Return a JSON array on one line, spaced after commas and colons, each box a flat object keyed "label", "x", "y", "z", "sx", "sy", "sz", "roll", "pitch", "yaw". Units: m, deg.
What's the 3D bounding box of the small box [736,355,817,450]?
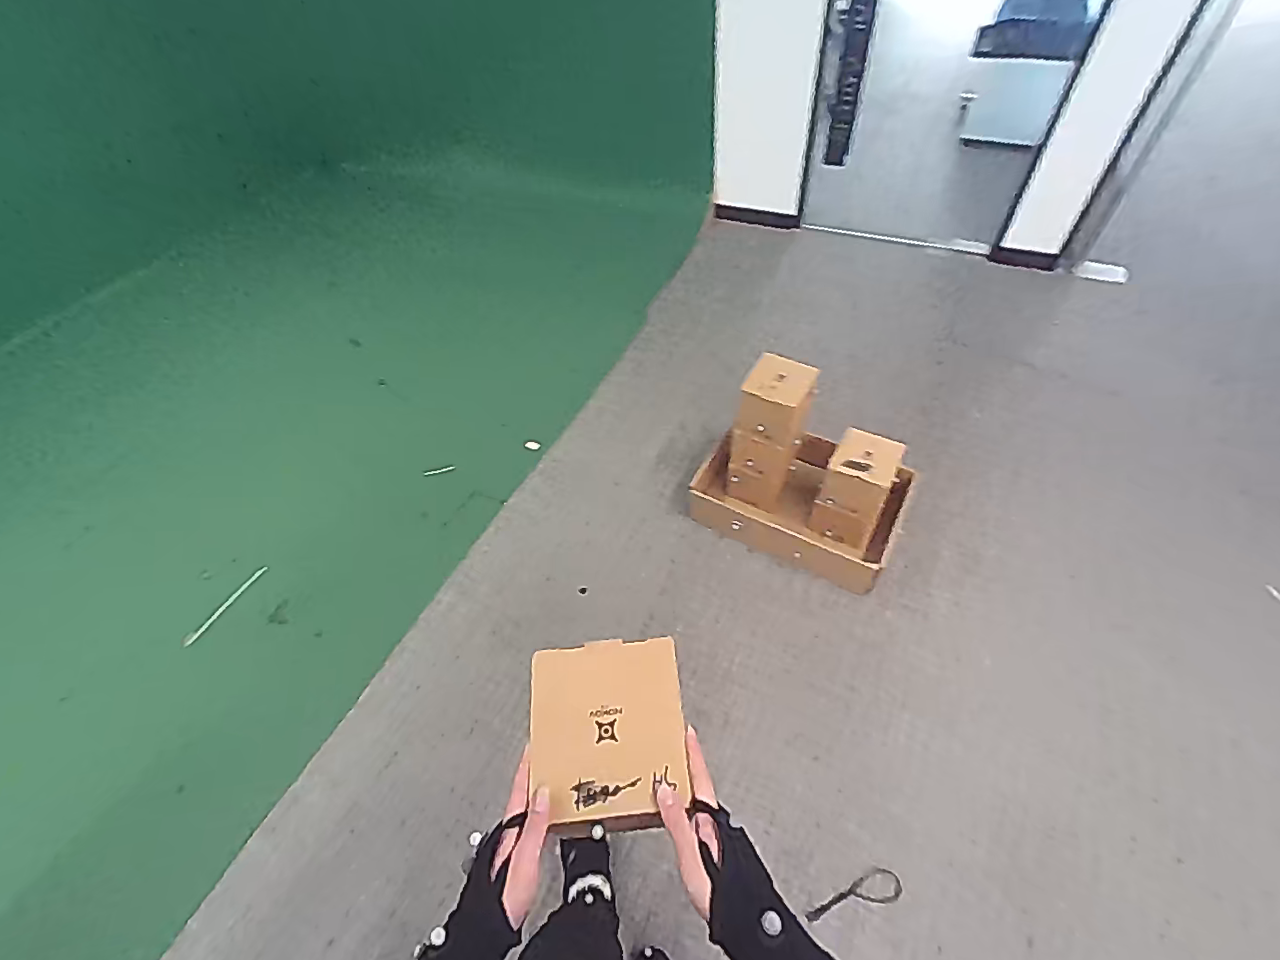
[{"label": "small box", "x": 0.383, "y": -0.221, "z": 1.552, "sx": 0.168, "sy": 0.176, "sz": 0.179, "roll": 24, "pitch": 59, "yaw": 22}]

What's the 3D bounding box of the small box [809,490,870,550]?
[{"label": "small box", "x": 0.644, "y": 0.087, "z": 1.699, "sx": 0.168, "sy": 0.176, "sz": 0.179, "roll": 23, "pitch": 59, "yaw": 23}]

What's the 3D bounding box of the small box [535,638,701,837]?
[{"label": "small box", "x": -0.022, "y": 0.306, "z": 0.639, "sx": 0.168, "sy": 0.176, "sz": 0.179, "roll": -5, "pitch": 53, "yaw": 1}]

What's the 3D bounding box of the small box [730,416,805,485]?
[{"label": "small box", "x": 0.390, "y": -0.119, "z": 1.681, "sx": 0.168, "sy": 0.176, "sz": 0.179, "roll": 24, "pitch": 59, "yaw": 21}]

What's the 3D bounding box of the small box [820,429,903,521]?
[{"label": "small box", "x": 0.635, "y": -0.010, "z": 1.567, "sx": 0.168, "sy": 0.176, "sz": 0.179, "roll": 22, "pitch": 57, "yaw": 23}]
